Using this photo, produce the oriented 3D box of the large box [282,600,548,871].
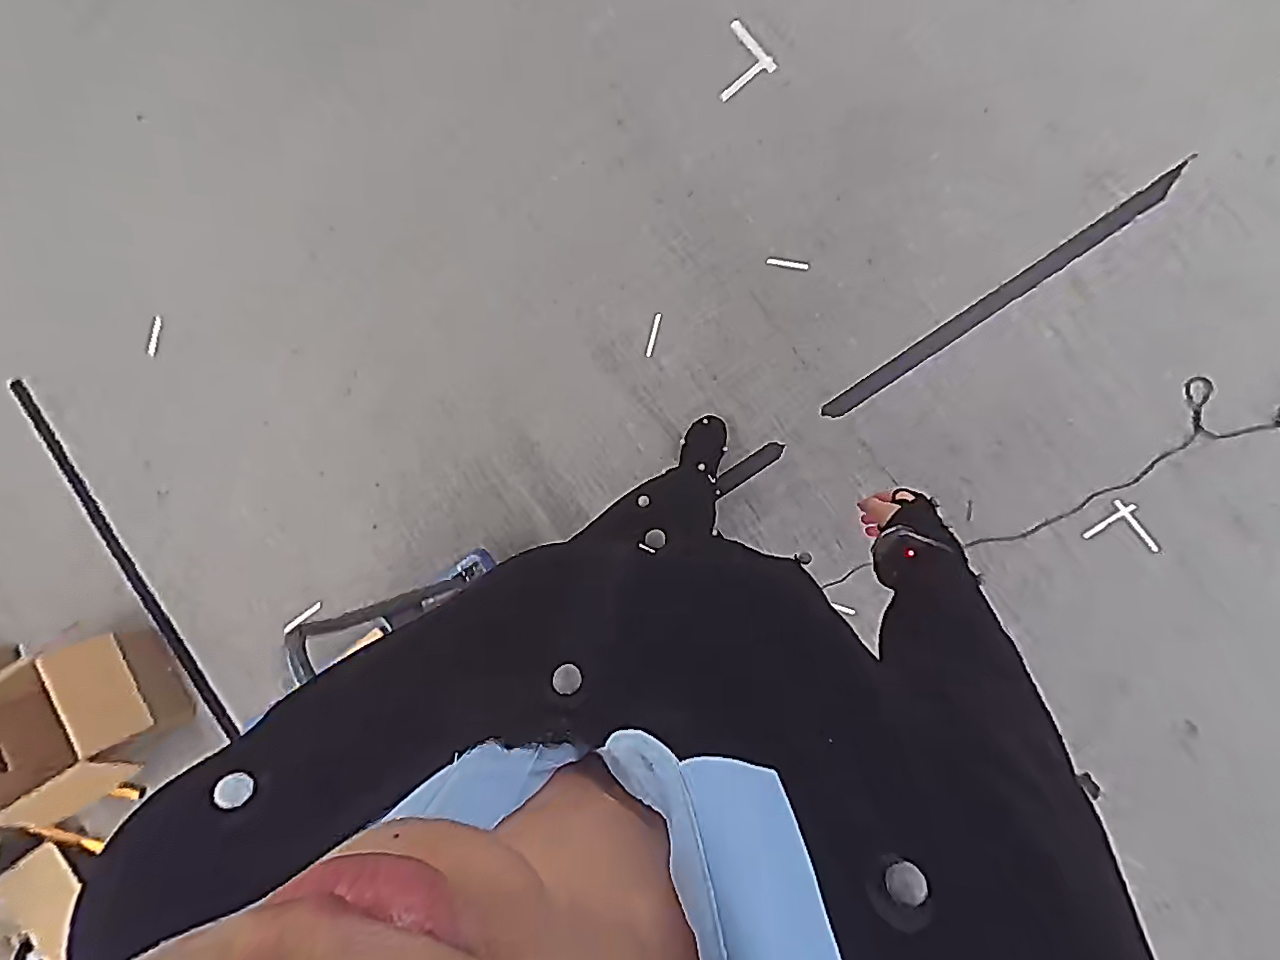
[{"bbox_3d":[-0.486,0.549,1.240,0.320,0.320,0.408,-41,84,5],"label":"large box"}]
